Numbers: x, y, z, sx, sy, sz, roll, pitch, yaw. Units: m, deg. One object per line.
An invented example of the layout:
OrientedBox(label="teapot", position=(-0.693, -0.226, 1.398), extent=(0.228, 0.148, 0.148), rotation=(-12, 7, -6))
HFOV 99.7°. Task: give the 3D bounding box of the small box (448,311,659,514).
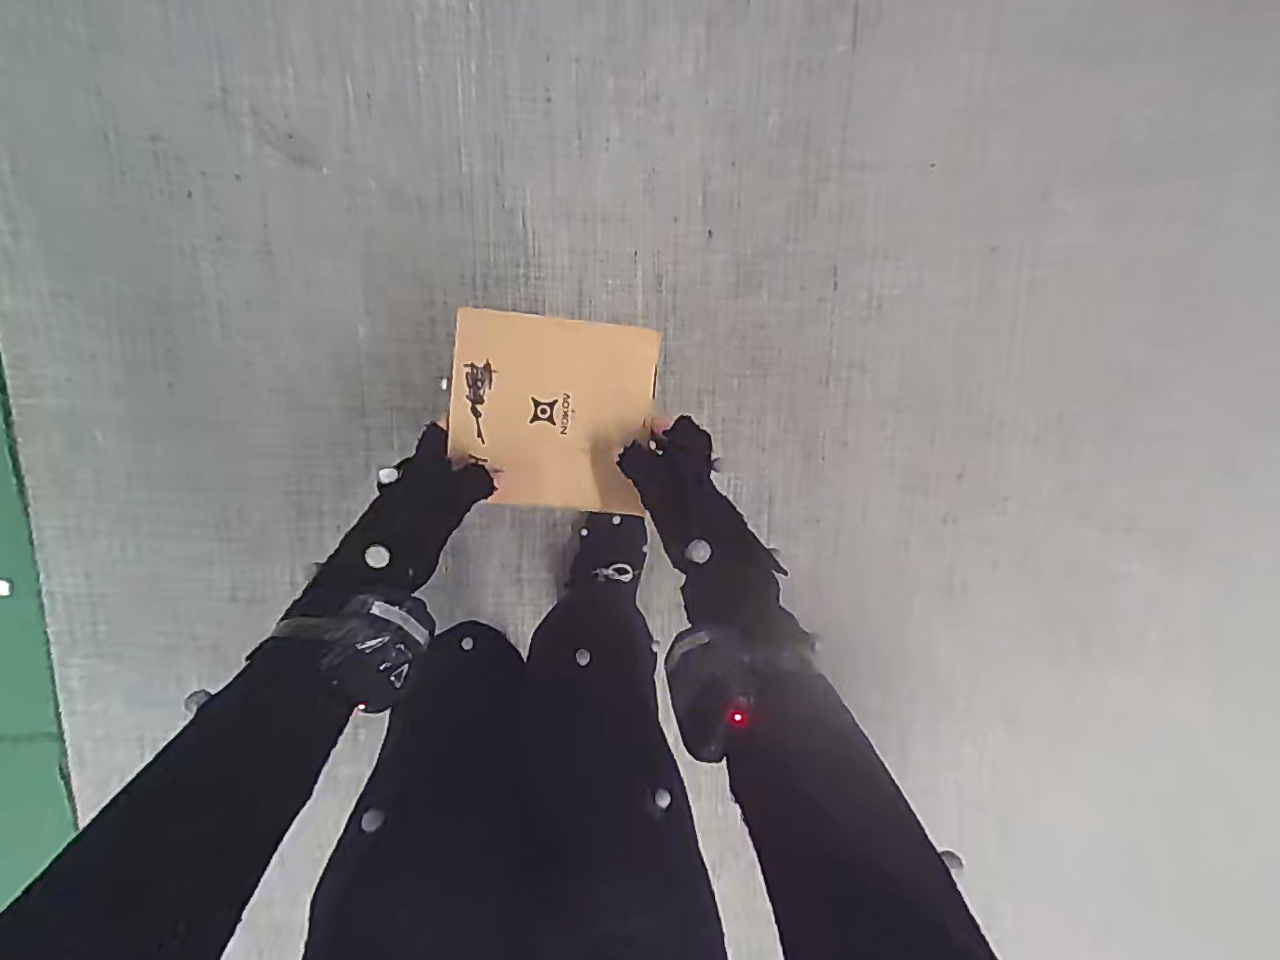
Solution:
OrientedBox(label="small box", position=(-0.086, -0.063, 0.560), extent=(0.179, 0.176, 0.168), rotation=(5, 93, -7))
